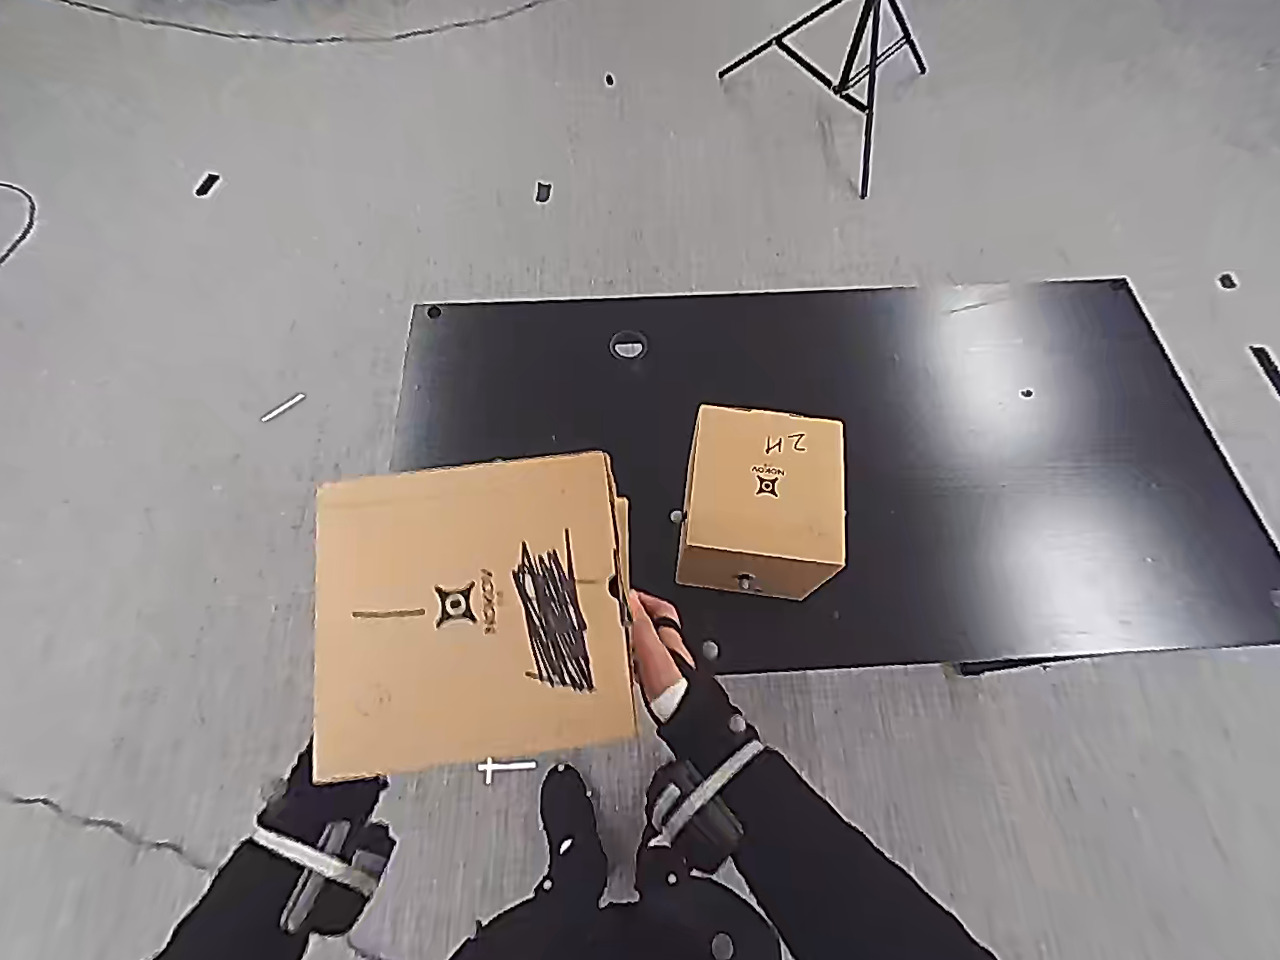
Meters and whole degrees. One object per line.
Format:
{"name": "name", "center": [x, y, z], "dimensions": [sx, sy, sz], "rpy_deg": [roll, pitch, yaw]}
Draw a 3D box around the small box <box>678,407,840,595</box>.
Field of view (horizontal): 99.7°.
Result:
{"name": "small box", "center": [0.139, 0.034, 0.669], "dimensions": [0.168, 0.176, 0.179], "rpy_deg": [7, 65, 3]}
